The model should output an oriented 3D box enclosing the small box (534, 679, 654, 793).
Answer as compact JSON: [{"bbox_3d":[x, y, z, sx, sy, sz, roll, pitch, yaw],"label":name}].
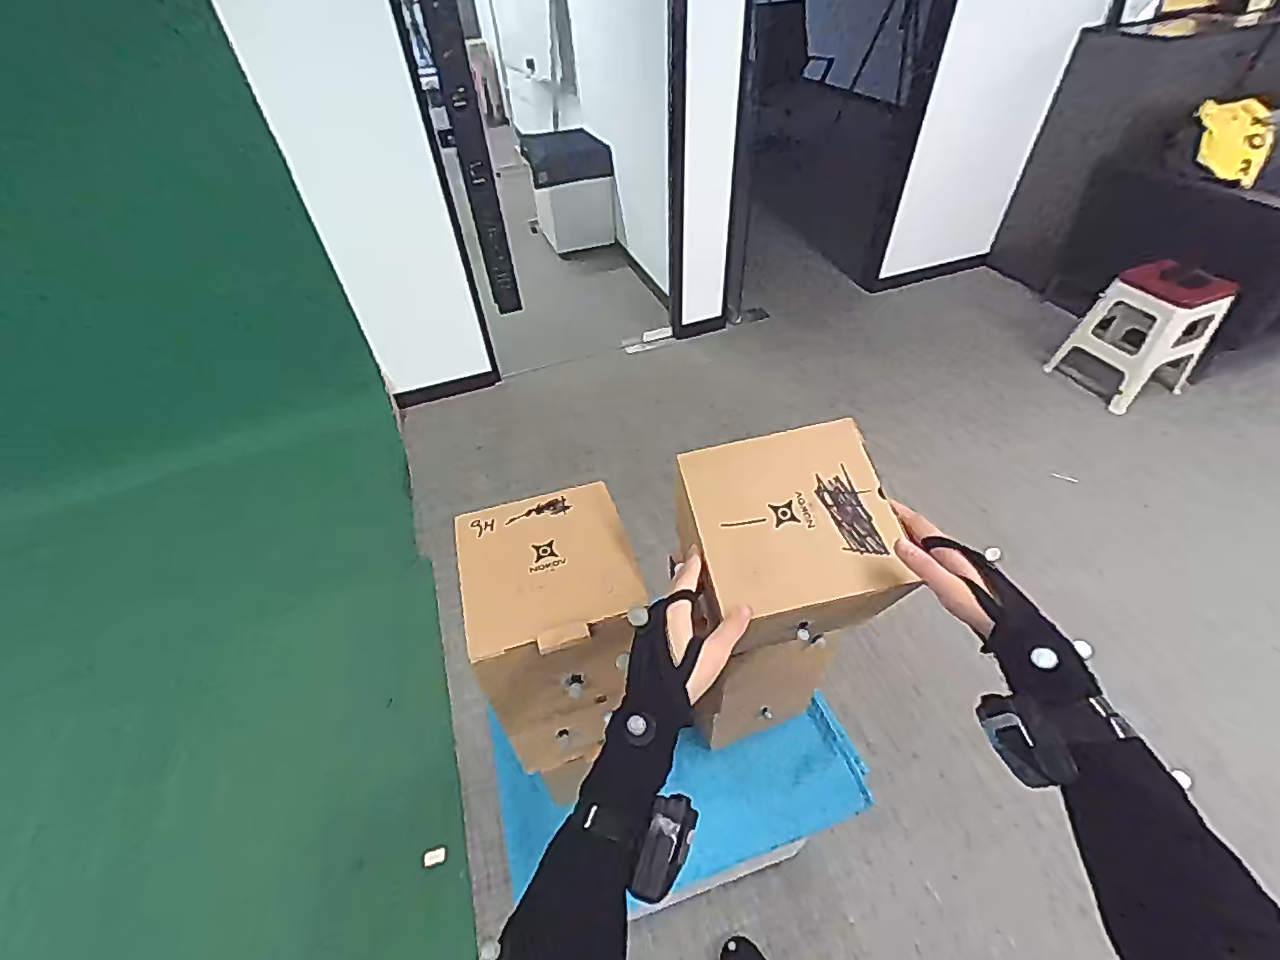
[{"bbox_3d":[-0.078,0.348,0.819,0.168,0.176,0.179,-13,46,-11],"label":"small box"}]

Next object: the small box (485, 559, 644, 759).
[{"bbox_3d":[-0.095,0.237,0.702,0.168,0.176,0.179,-13,45,-10],"label":"small box"}]

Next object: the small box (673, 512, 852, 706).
[{"bbox_3d":[0.152,0.177,0.740,0.179,0.176,0.168,-17,47,-12],"label":"small box"}]
